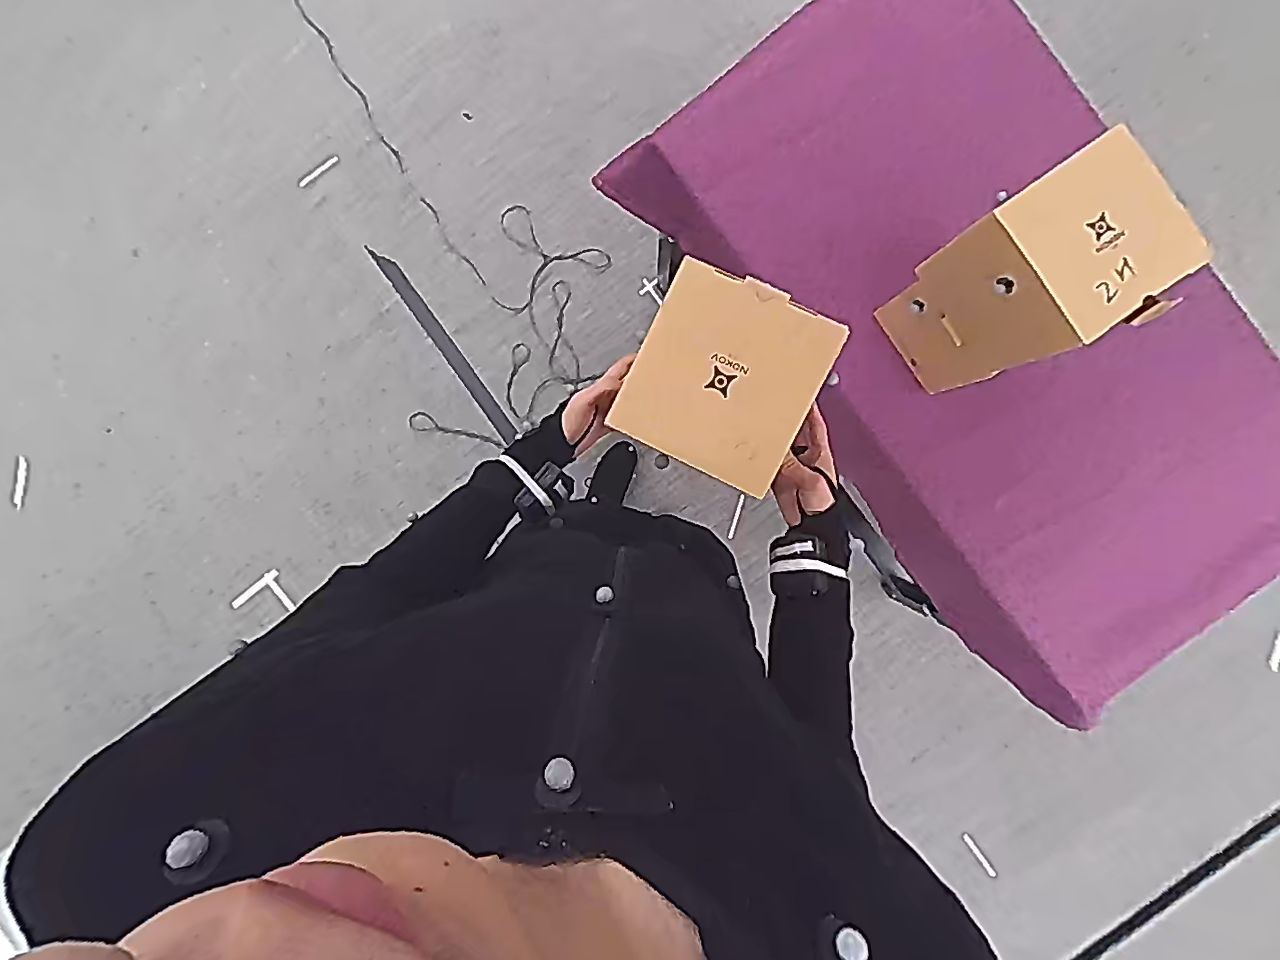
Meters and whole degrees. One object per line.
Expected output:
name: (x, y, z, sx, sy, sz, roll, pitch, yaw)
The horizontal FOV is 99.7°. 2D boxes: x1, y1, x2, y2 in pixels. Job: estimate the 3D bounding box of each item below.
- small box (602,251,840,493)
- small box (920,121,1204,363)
small box: (0.082, -0.099, 0.574, 0.168, 0.176, 0.179, 26, 93, 6)
small box: (0.481, -0.265, 0.649, 0.168, 0.176, 0.179, -34, 91, 1)
